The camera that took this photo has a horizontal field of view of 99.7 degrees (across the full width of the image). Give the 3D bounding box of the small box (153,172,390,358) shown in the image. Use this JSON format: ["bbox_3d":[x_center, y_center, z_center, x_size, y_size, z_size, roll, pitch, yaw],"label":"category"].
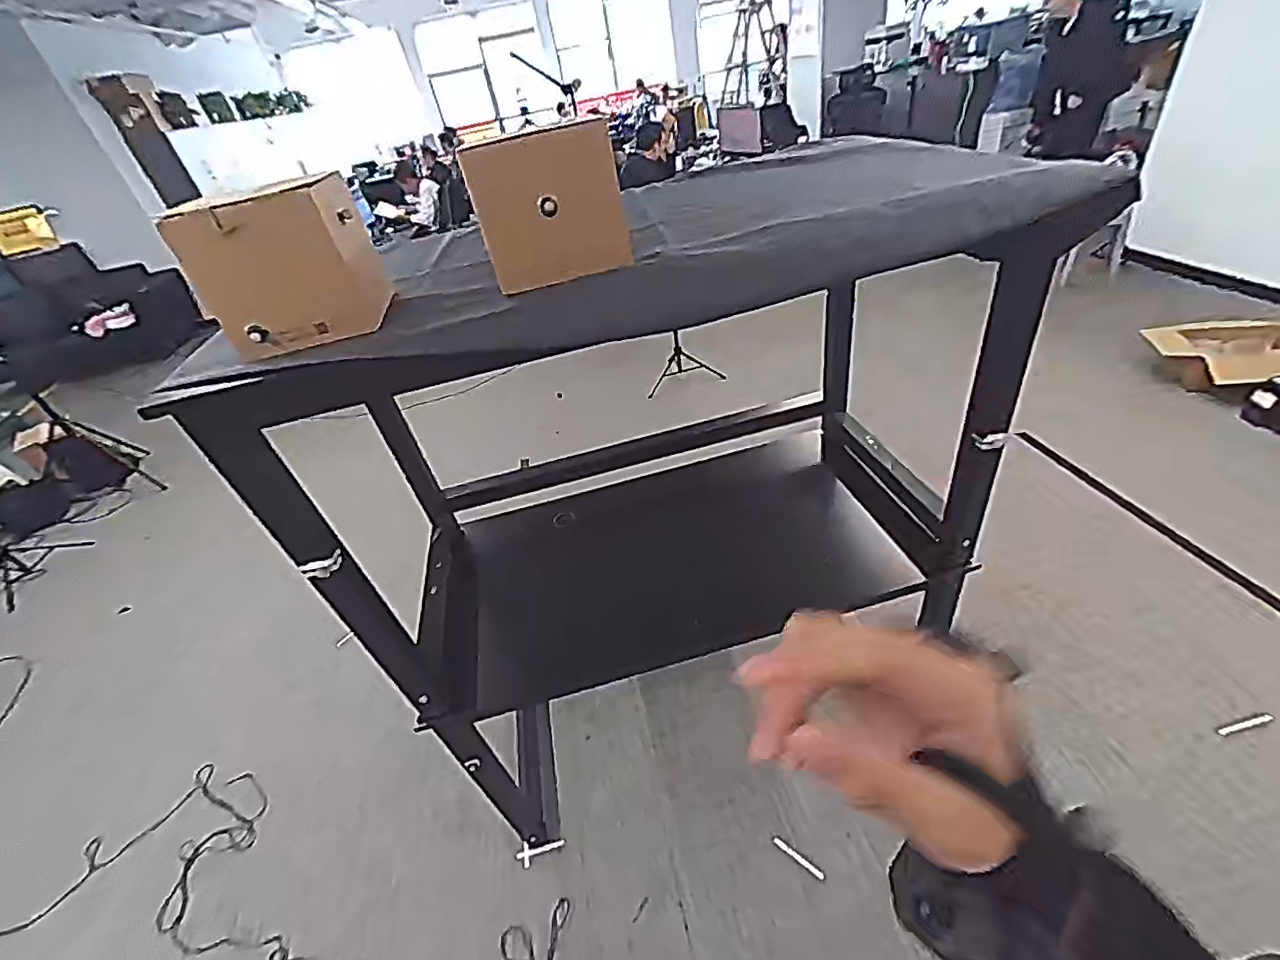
[{"bbox_3d":[-0.440,-0.270,0.688,0.168,0.176,0.179,-16,37,-5],"label":"small box"}]
